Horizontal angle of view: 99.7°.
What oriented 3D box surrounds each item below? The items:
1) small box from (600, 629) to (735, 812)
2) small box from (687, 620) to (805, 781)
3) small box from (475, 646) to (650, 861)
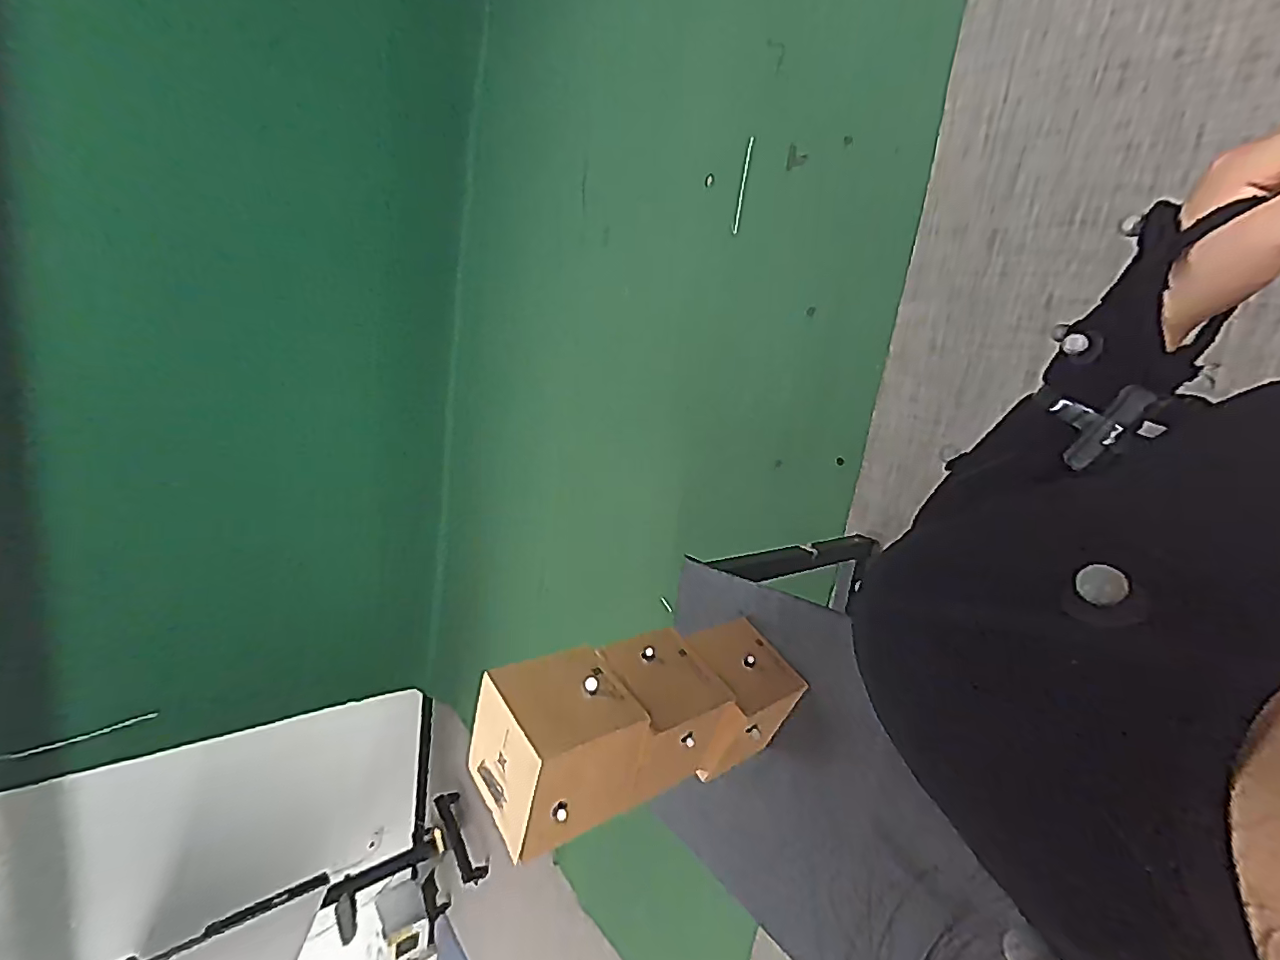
[{"bbox_3d":[0.021,0.361,0.844,0.168,0.176,0.179,41,123,42],"label":"small box"},{"bbox_3d":[0.156,0.370,0.937,0.168,0.176,0.179,46,126,39],"label":"small box"},{"bbox_3d":[-0.108,0.359,0.742,0.168,0.176,0.179,33,116,44],"label":"small box"}]
